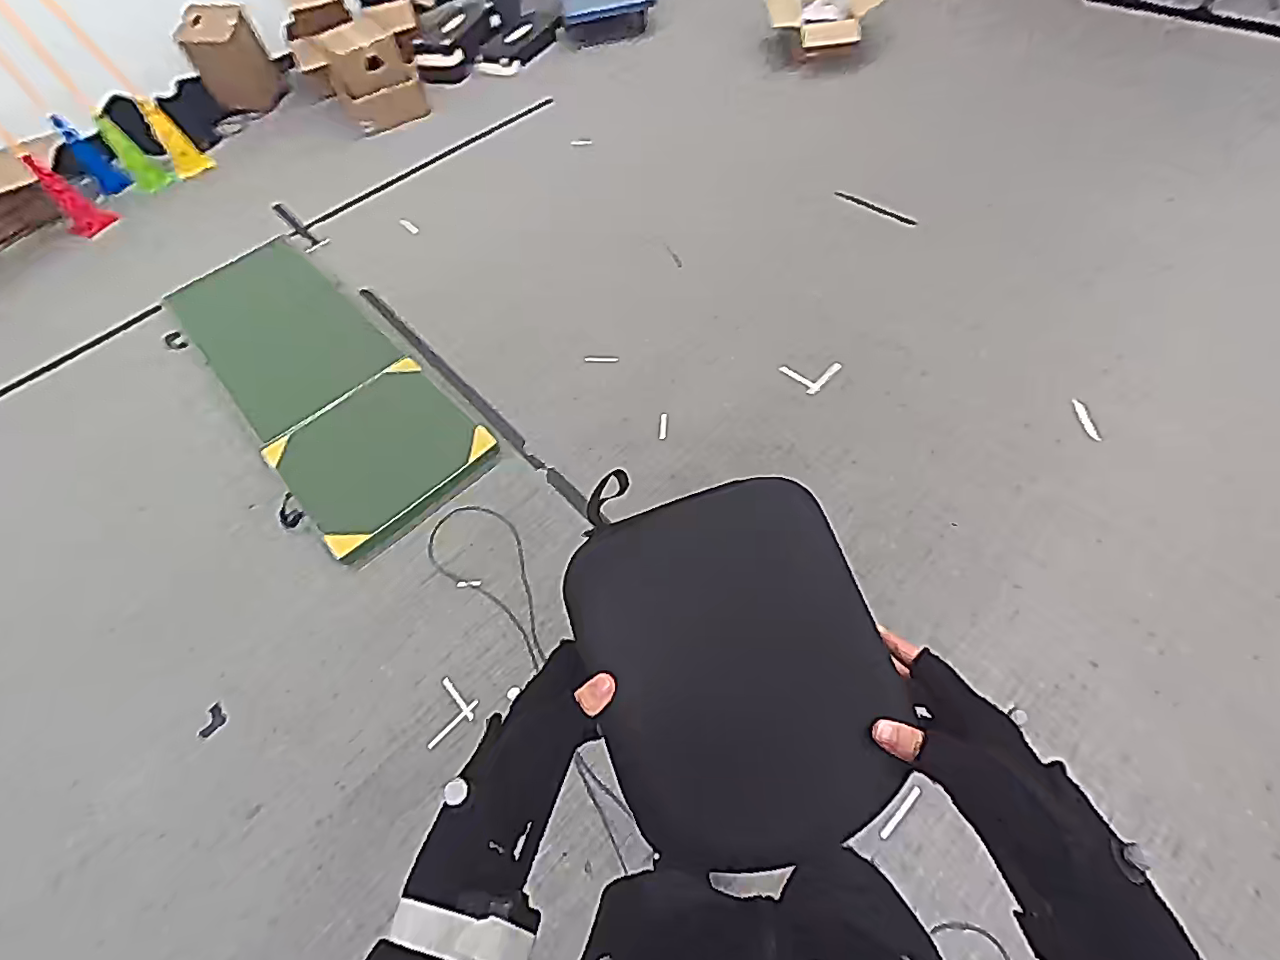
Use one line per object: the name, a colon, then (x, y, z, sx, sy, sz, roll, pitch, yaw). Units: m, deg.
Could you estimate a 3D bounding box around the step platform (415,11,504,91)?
step platform: (-1.152, -2.772, 3.477, 0.286, 0.204, 0.684, 12, 61, 13)
